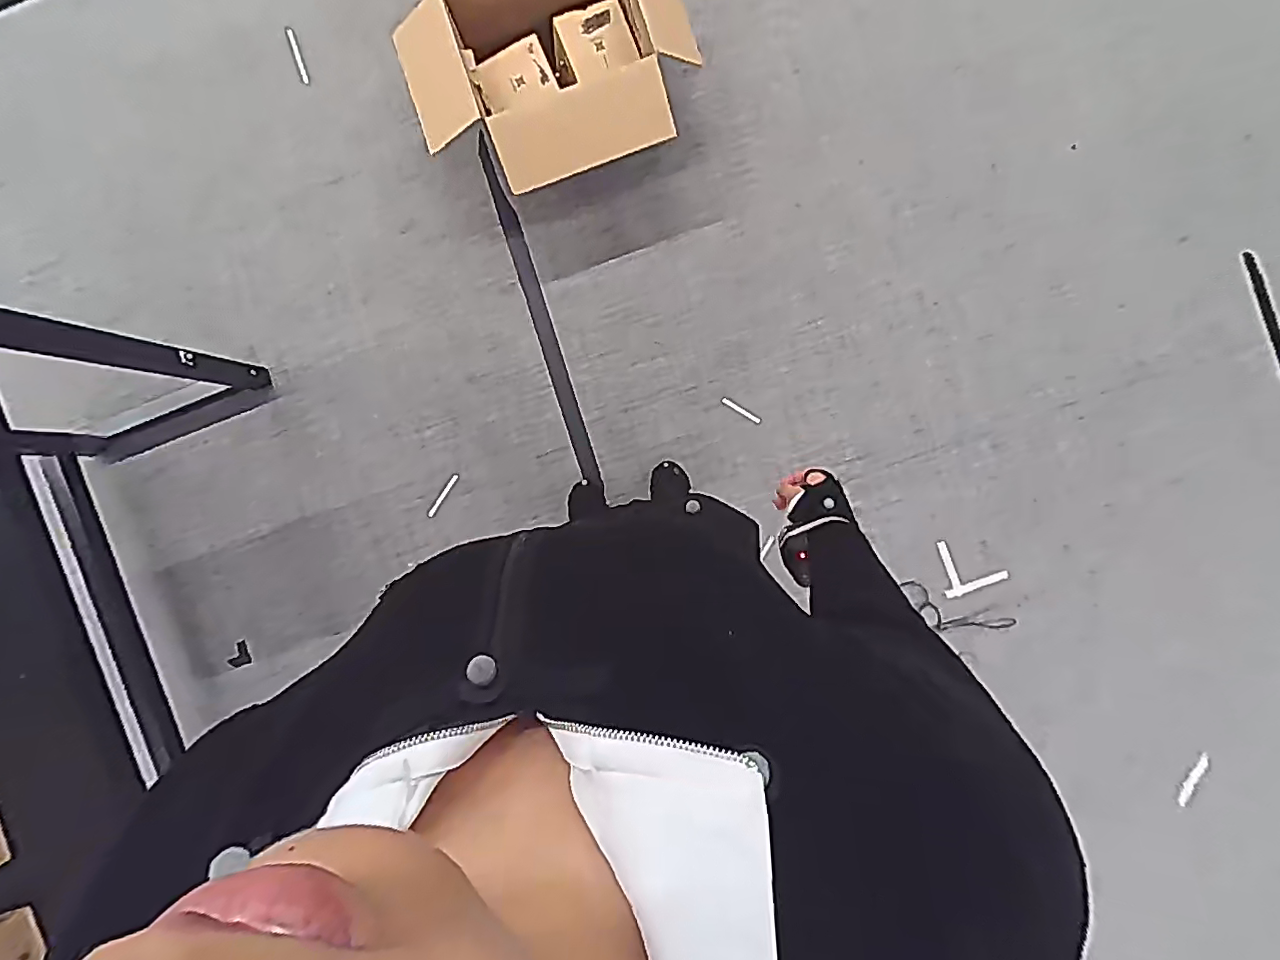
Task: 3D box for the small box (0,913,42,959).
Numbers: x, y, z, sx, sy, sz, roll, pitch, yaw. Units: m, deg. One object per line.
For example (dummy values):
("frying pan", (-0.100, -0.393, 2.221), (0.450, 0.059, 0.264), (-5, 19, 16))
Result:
("small box", (-0.979, 0.747, 0.739), (0.179, 0.176, 0.168), (-20, 90, 4))
